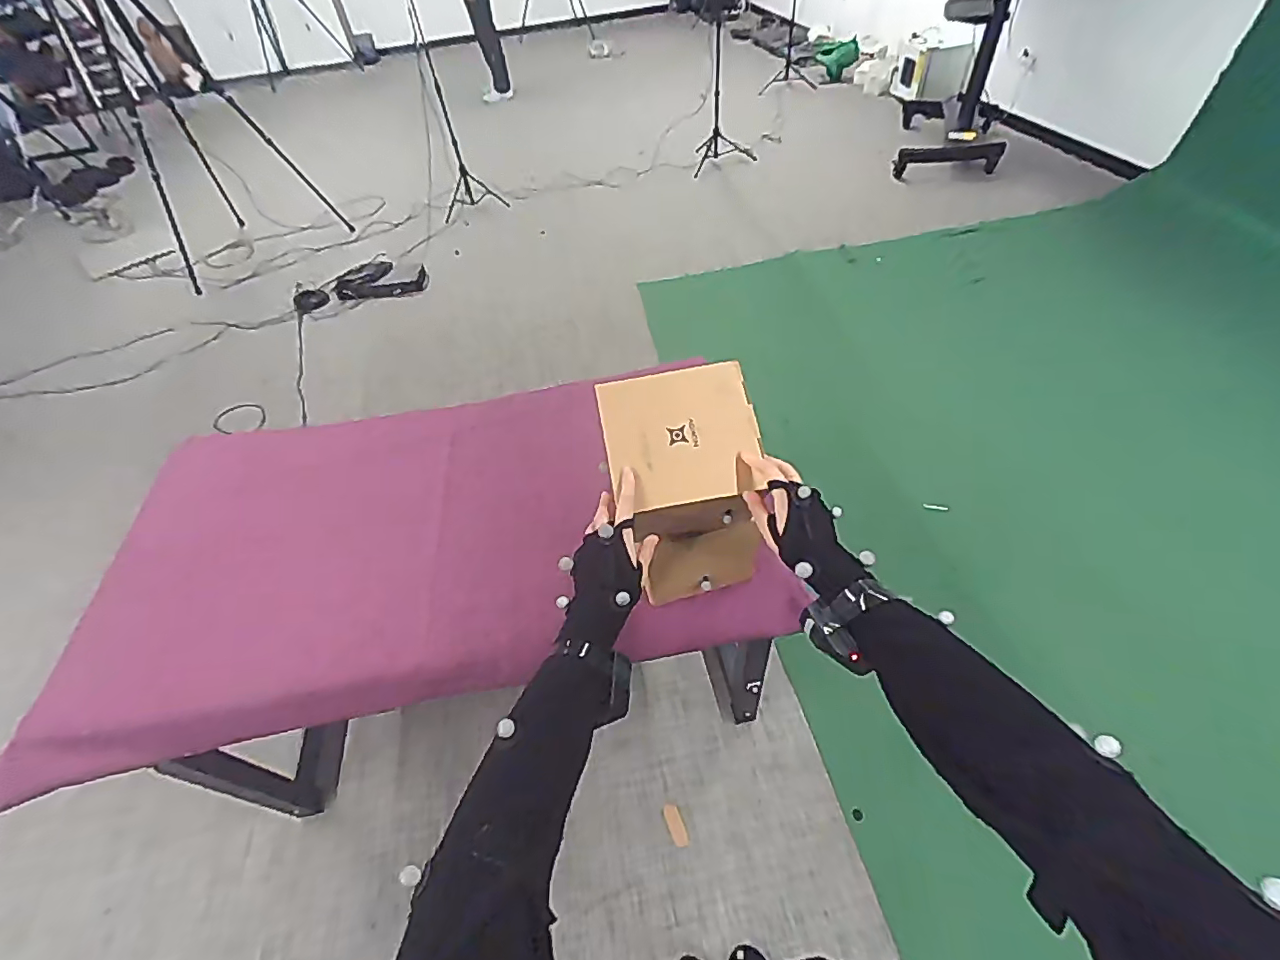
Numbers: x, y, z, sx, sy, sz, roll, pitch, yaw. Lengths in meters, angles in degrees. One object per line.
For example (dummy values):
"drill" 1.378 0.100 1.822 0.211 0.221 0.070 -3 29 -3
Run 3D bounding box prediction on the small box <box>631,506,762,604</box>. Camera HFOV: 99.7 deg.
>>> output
"small box" 0.075 0.070 0.854 0.179 0.176 0.168 -15 49 -5

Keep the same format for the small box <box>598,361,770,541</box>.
"small box" 0.049 -0.028 0.692 0.179 0.176 0.168 -10 71 0
